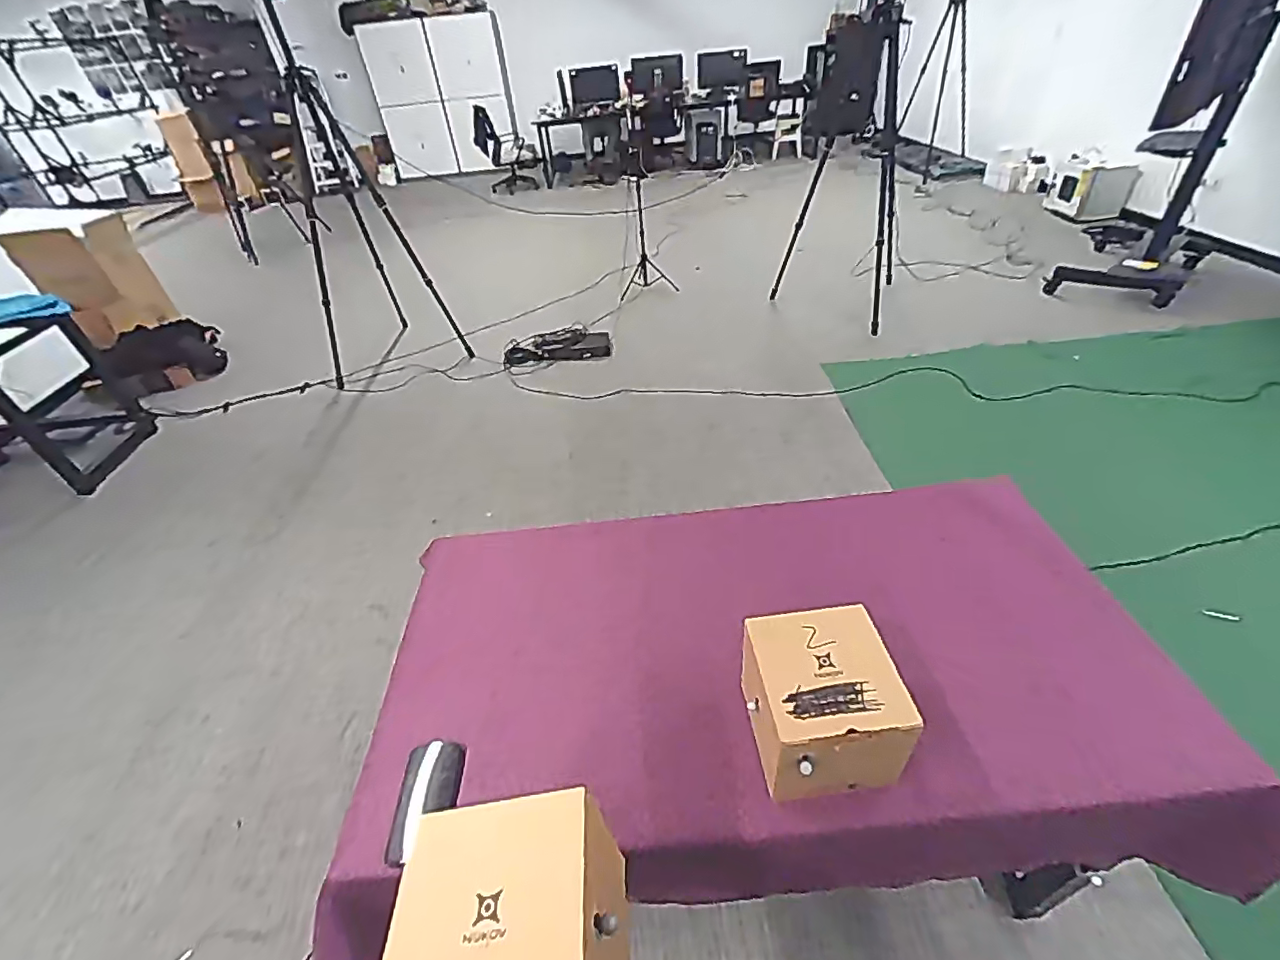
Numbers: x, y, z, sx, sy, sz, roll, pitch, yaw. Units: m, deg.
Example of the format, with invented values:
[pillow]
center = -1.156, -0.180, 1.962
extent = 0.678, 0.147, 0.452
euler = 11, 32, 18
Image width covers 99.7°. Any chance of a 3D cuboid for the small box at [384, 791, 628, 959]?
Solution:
[small box]
center = -0.107, 0.415, 0.481
extent = 0.168, 0.176, 0.179
euler = -11, 37, 3
